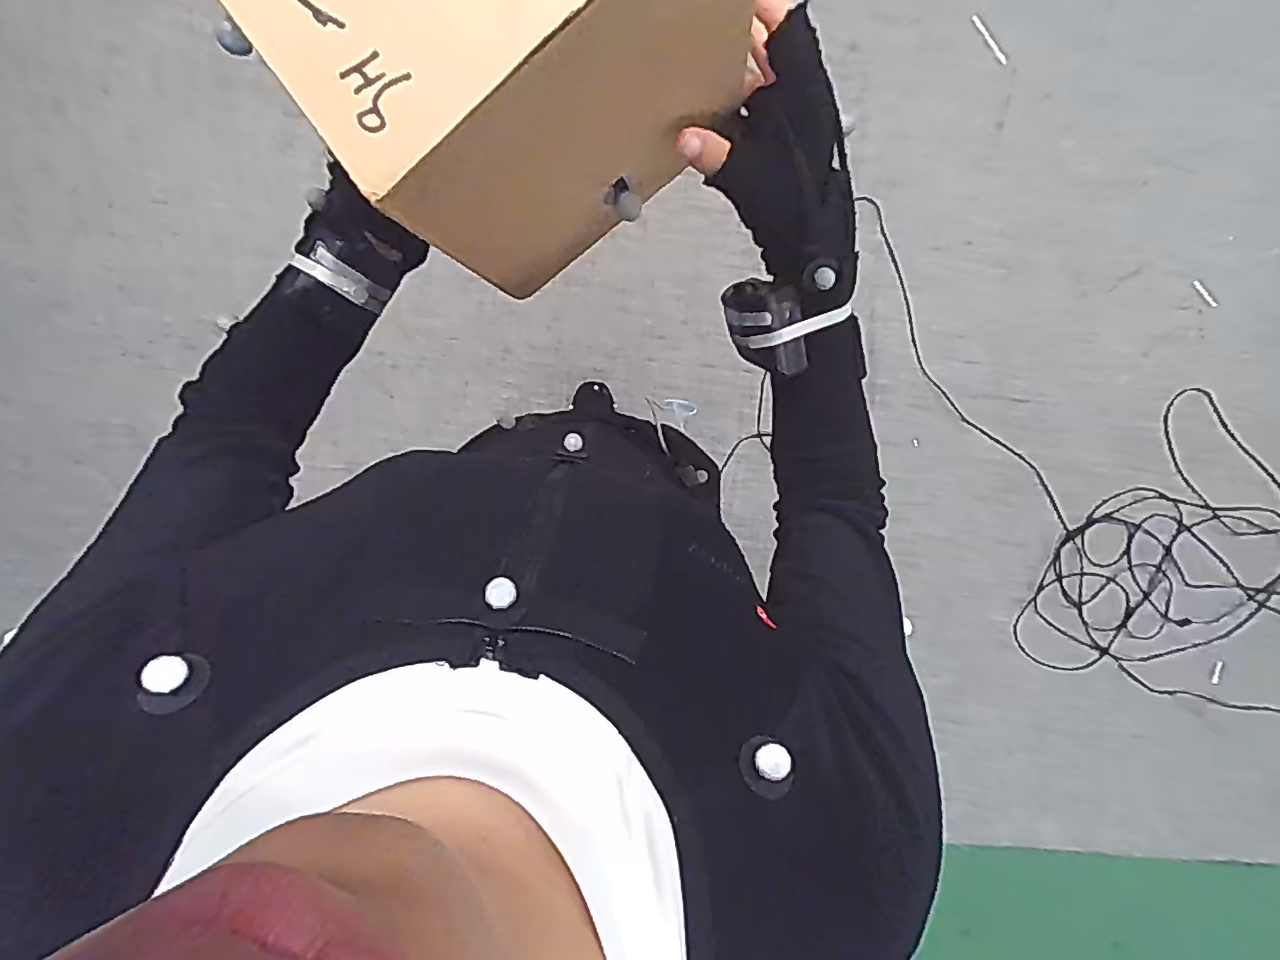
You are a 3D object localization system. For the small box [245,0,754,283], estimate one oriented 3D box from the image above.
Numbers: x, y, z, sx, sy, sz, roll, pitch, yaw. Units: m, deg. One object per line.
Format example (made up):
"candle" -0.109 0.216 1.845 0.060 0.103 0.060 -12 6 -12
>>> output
"small box" -0.061 -0.225 0.253 0.179 0.176 0.168 -36 92 8
